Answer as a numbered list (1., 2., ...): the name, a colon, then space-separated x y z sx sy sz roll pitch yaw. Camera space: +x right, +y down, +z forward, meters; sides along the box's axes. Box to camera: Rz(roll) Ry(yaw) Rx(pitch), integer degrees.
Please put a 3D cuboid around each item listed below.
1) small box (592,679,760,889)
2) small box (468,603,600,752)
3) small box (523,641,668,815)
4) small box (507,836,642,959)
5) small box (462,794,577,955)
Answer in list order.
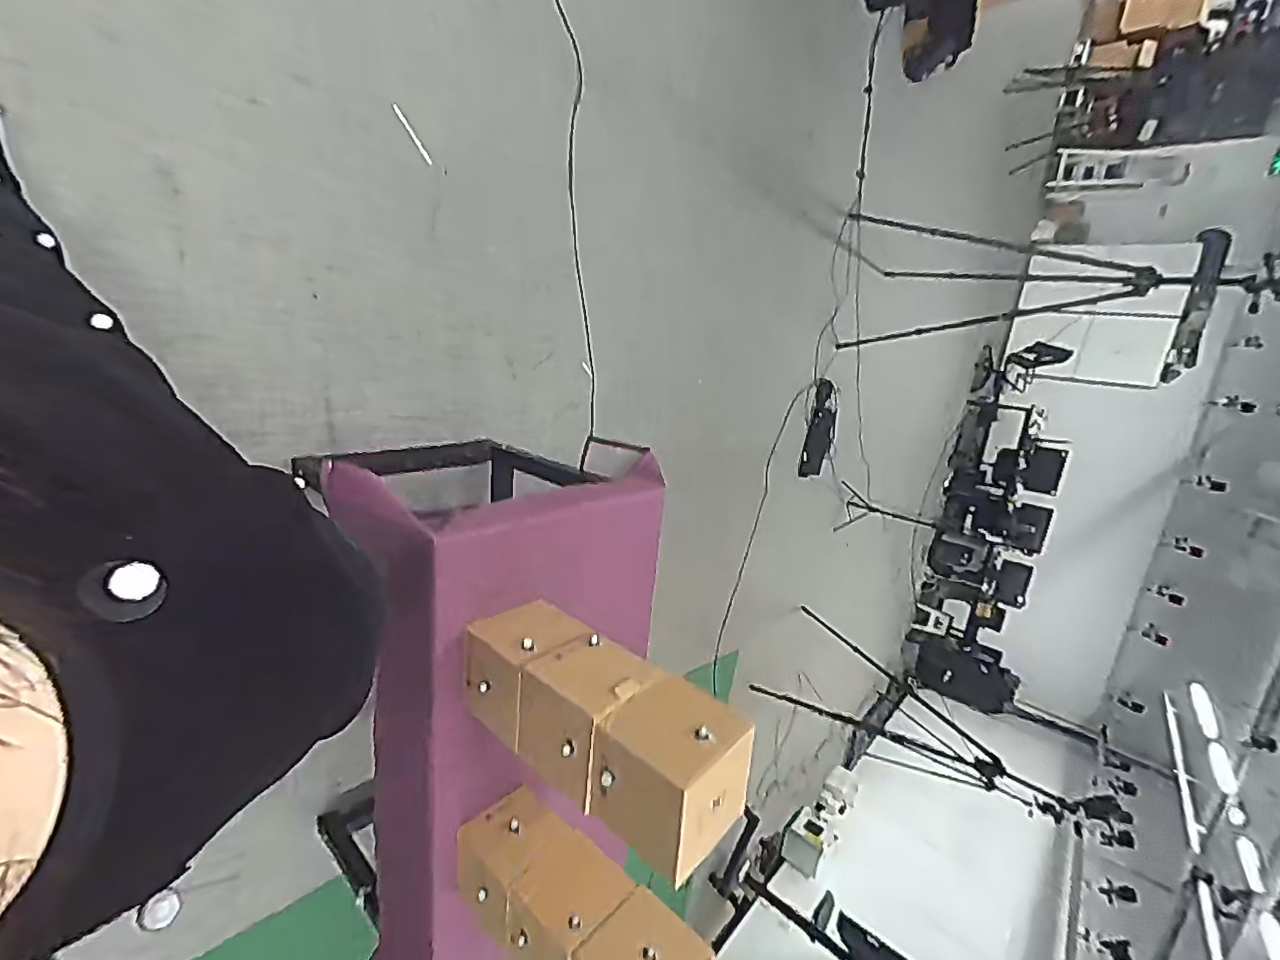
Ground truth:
1. small box: 0.051 0.426 0.794 0.179 0.176 0.168 -14 113 -46
2. small box: -0.198 0.350 0.994 0.179 0.176 0.168 -11 113 -48
3. small box: -0.077 0.388 0.890 0.168 0.176 0.179 -11 113 -47
4. small box: -0.121 0.817 1.002 0.179 0.176 0.168 -10 112 -47
5. small box: -0.247 0.782 1.100 0.168 0.176 0.179 -12 112 -47
